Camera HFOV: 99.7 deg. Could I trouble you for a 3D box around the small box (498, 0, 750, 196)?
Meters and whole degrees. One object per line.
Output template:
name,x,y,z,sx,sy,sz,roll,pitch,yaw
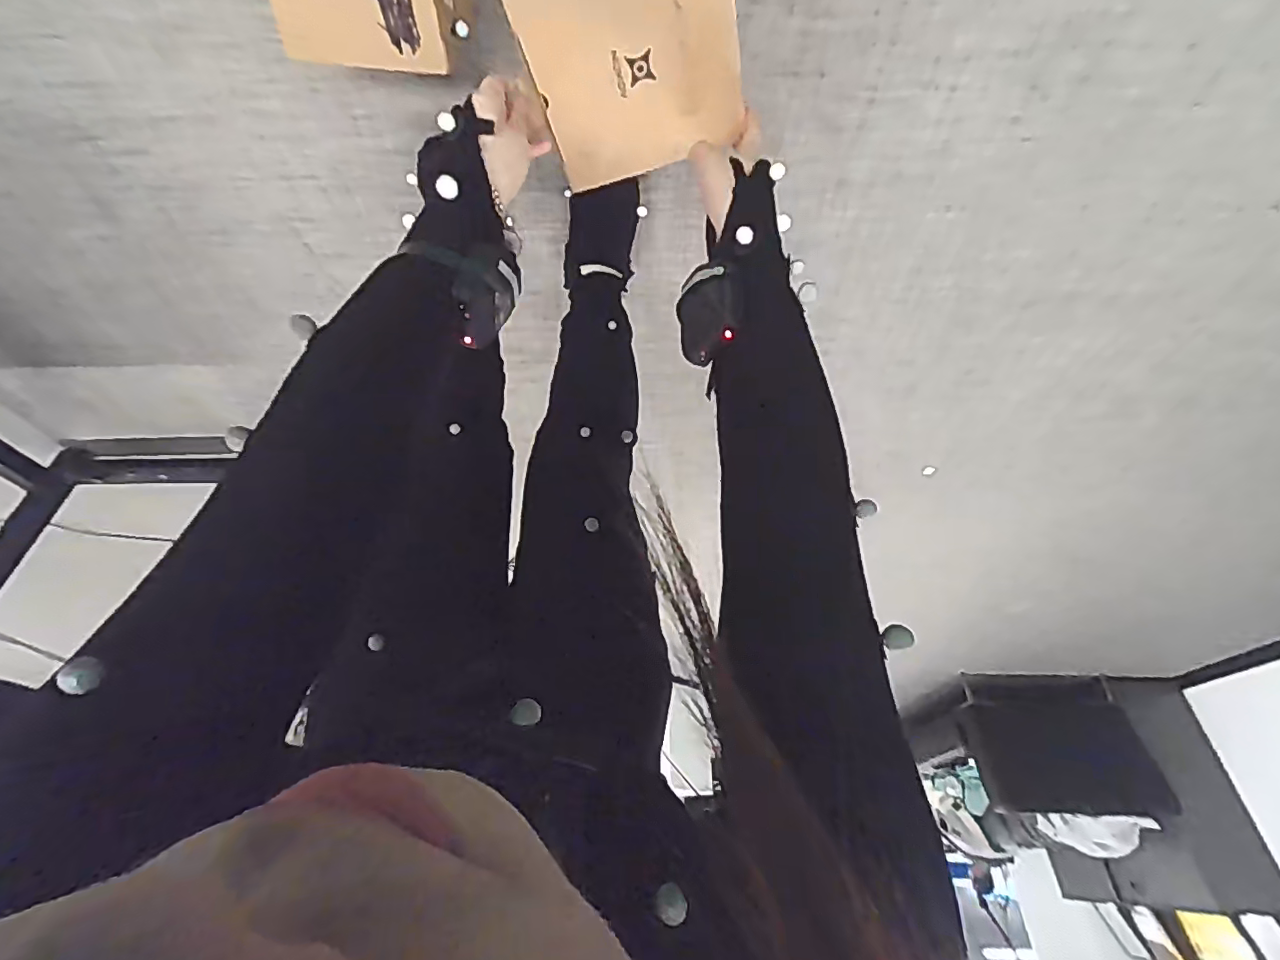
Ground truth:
small box,-0.010,-0.399,0.486,0.179,0.176,0.168,-14,146,10
